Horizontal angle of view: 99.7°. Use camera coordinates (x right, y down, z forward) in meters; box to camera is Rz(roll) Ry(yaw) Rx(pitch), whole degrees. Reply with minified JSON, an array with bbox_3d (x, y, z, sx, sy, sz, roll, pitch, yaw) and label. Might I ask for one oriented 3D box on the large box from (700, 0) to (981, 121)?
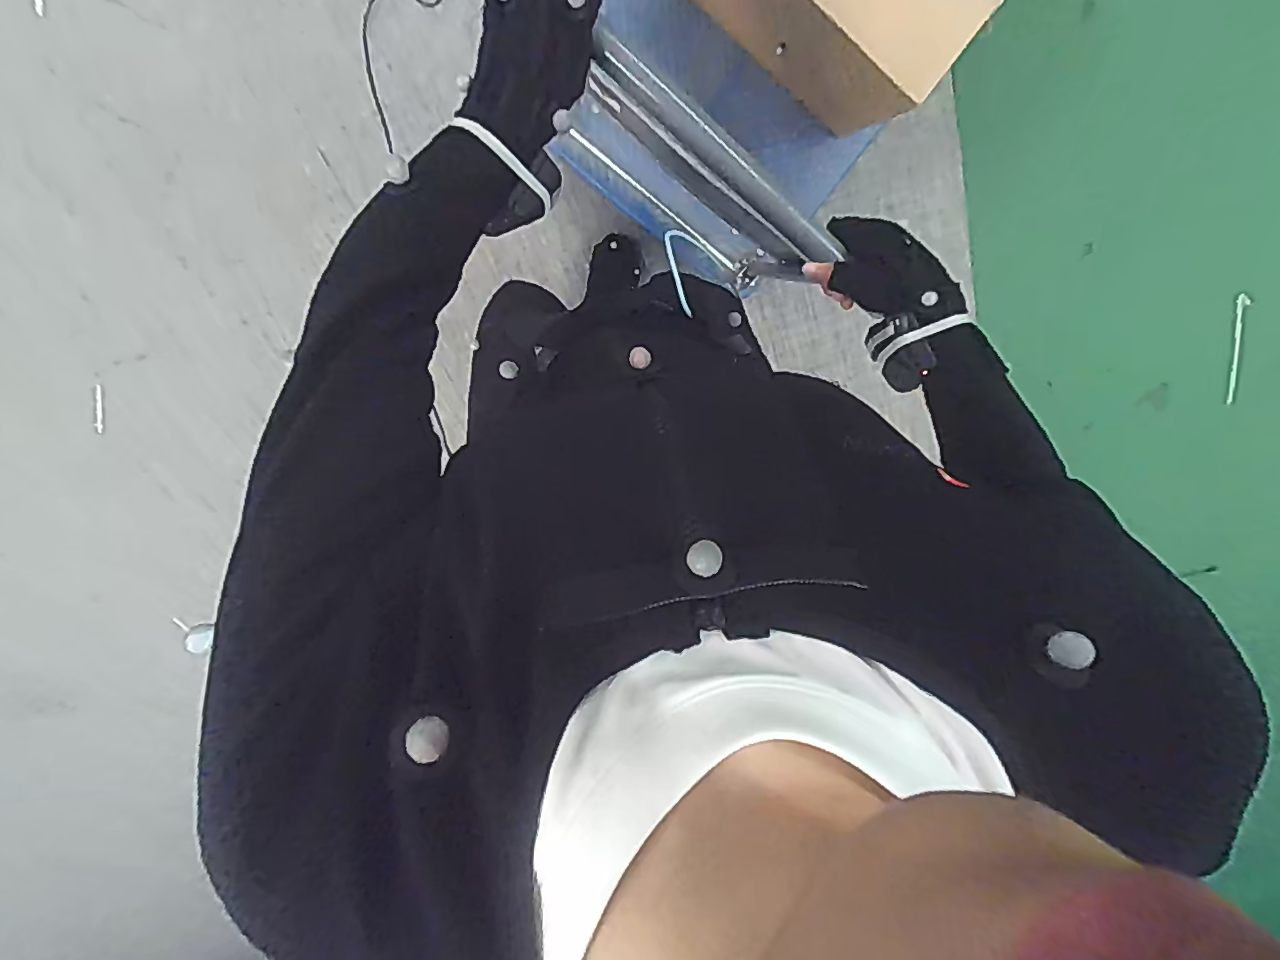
[{"bbox_3d":[0.316,-0.839,0.821,0.408,0.320,0.320,30,110,-15],"label":"large box"}]
